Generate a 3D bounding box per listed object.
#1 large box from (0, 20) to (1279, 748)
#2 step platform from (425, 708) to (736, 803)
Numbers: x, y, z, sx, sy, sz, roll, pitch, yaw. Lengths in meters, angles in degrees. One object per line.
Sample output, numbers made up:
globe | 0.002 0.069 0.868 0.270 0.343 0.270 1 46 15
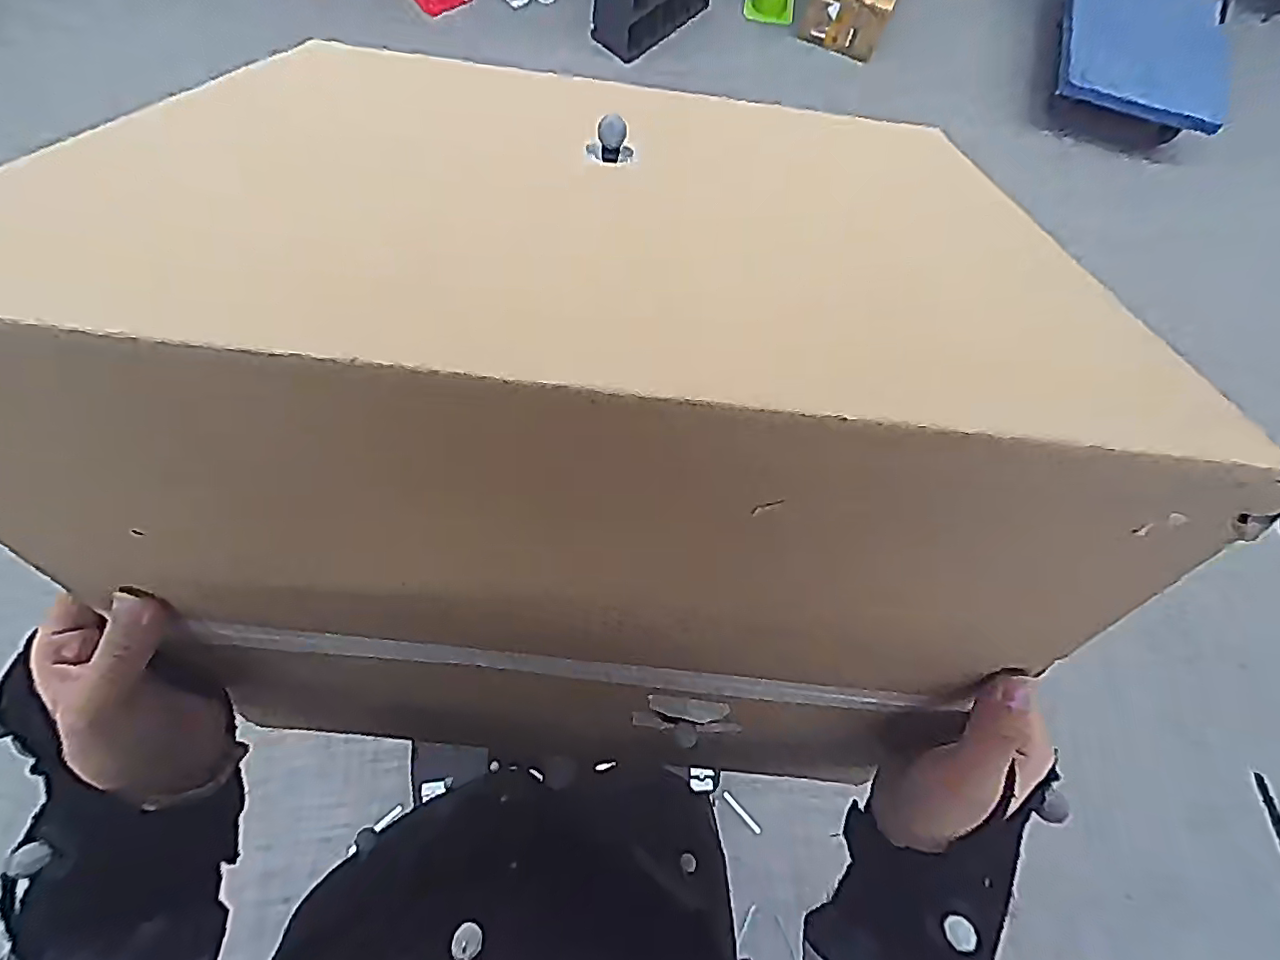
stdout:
large box | -0.014 -0.055 0.341 0.408 0.320 0.320 6 48 -2
step platform | -0.126 0.557 1.242 0.684 0.204 0.286 4 72 -4
